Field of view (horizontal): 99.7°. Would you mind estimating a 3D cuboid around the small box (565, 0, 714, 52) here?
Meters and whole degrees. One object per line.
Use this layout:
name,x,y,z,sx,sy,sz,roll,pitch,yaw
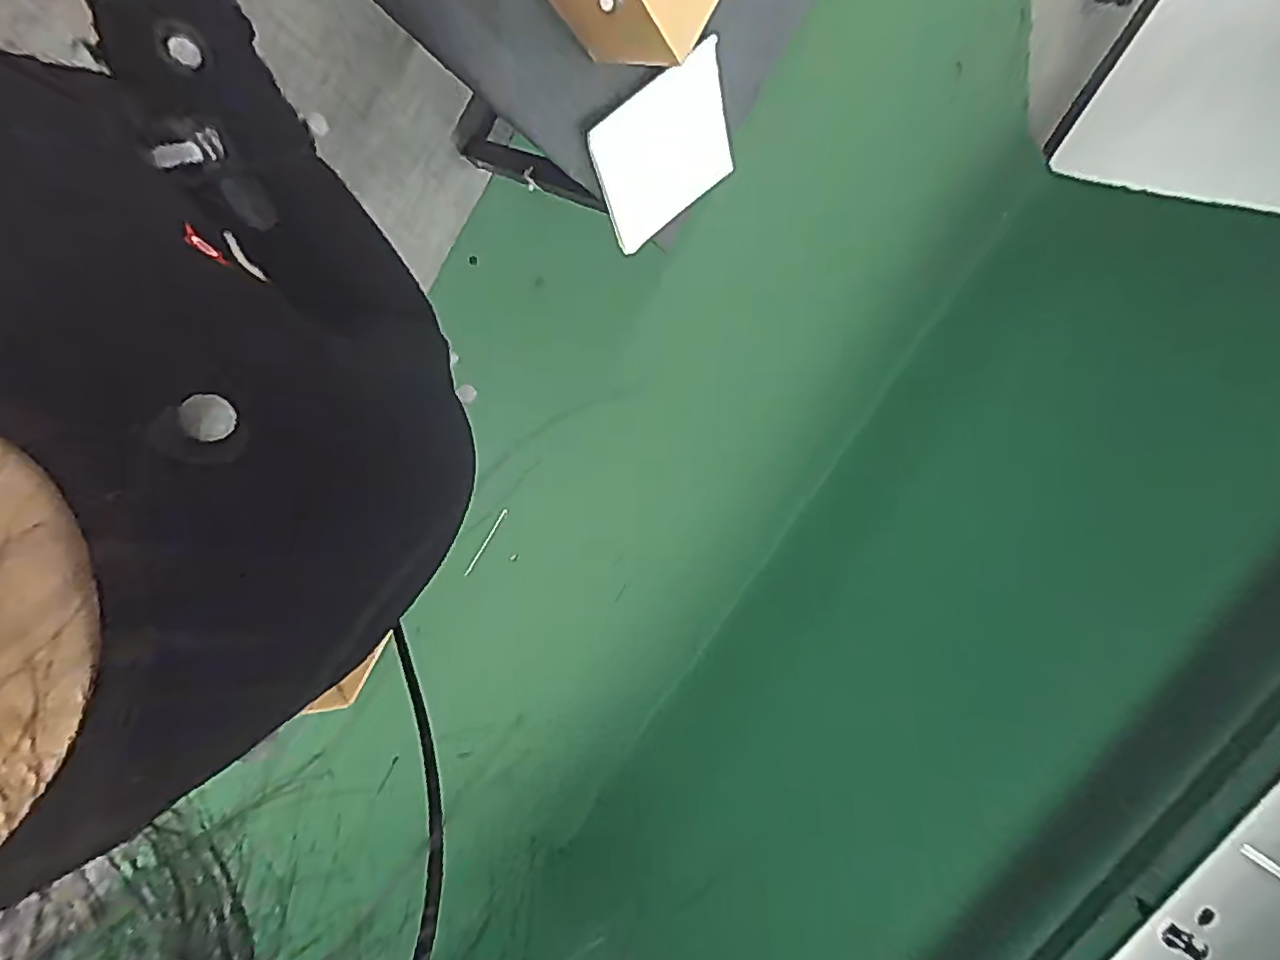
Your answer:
small box,-0.006,-0.607,0.575,0.179,0.176,0.168,19,105,-52
